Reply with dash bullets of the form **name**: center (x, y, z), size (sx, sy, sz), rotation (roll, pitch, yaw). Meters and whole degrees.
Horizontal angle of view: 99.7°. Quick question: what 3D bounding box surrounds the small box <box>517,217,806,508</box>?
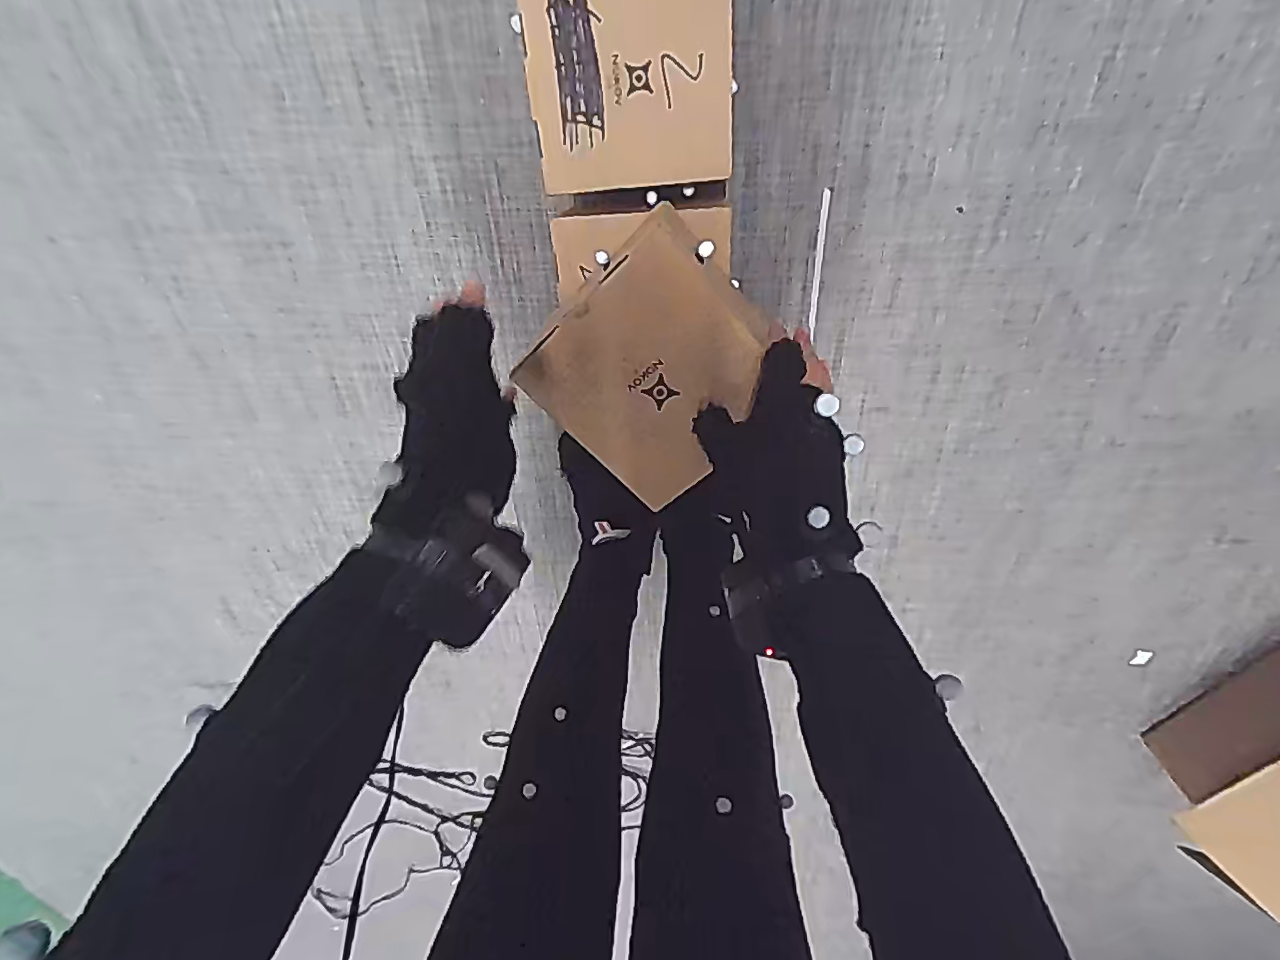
- **small box**: center (0.024, -0.114, 0.497), size (0.168, 0.176, 0.179), rotation (-38, 110, 24)
